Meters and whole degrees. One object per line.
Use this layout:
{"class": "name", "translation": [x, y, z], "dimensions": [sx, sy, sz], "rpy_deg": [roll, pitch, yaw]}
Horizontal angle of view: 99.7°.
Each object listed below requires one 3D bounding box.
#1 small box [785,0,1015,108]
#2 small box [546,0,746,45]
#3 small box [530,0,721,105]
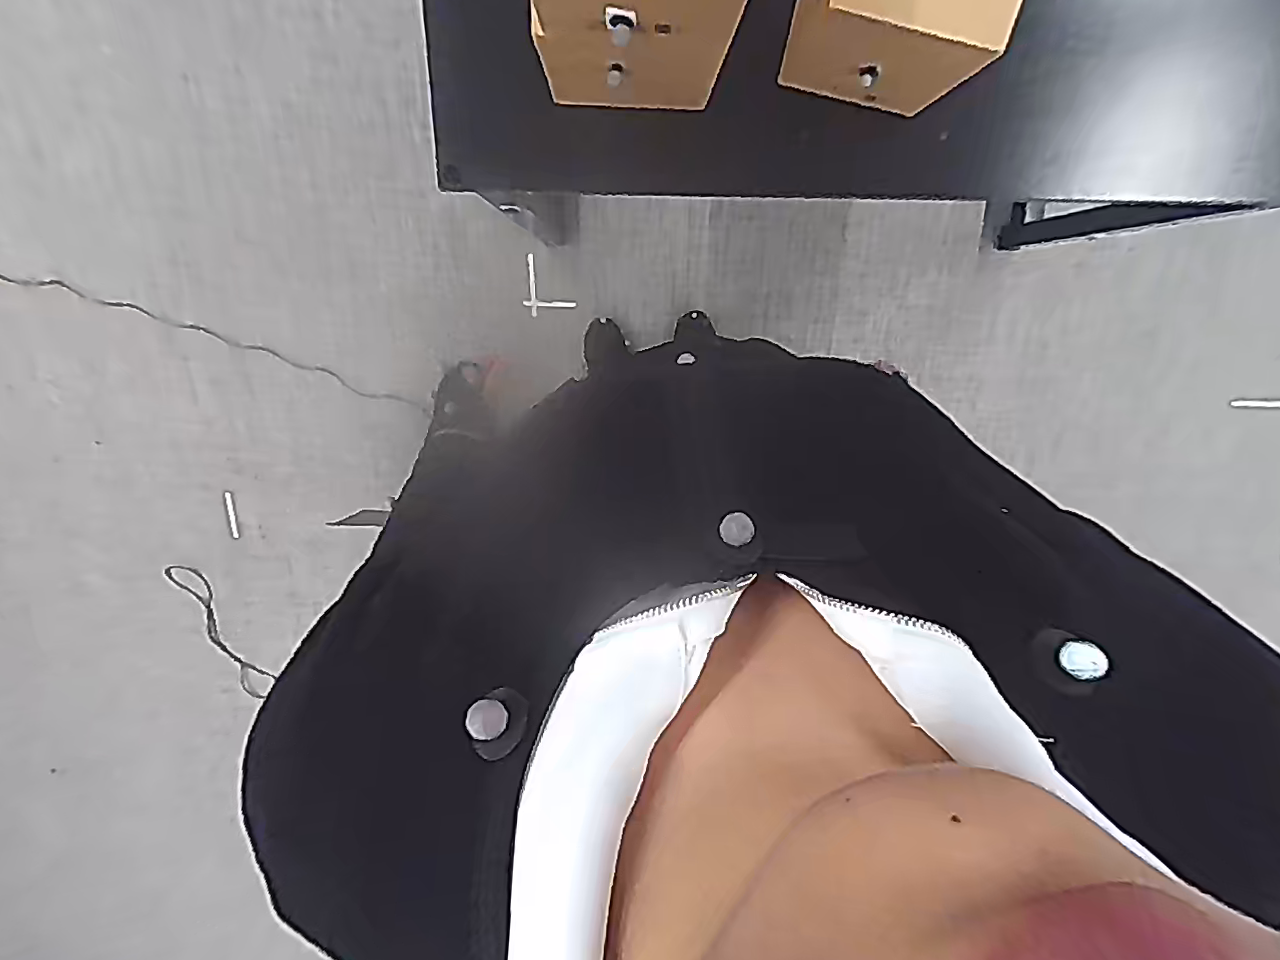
{"class": "small box", "translation": [0.255, -0.501, 0.527], "dimensions": [0.168, 0.176, 0.179], "rpy_deg": [11, 106, -5]}
{"class": "small box", "translation": [0.005, -0.443, 0.369], "dimensions": [0.168, 0.176, 0.179], "rpy_deg": [1, 108, -1]}
{"class": "small box", "translation": [-0.006, -0.490, 0.525], "dimensions": [0.179, 0.176, 0.168], "rpy_deg": [1, 107, -1]}
